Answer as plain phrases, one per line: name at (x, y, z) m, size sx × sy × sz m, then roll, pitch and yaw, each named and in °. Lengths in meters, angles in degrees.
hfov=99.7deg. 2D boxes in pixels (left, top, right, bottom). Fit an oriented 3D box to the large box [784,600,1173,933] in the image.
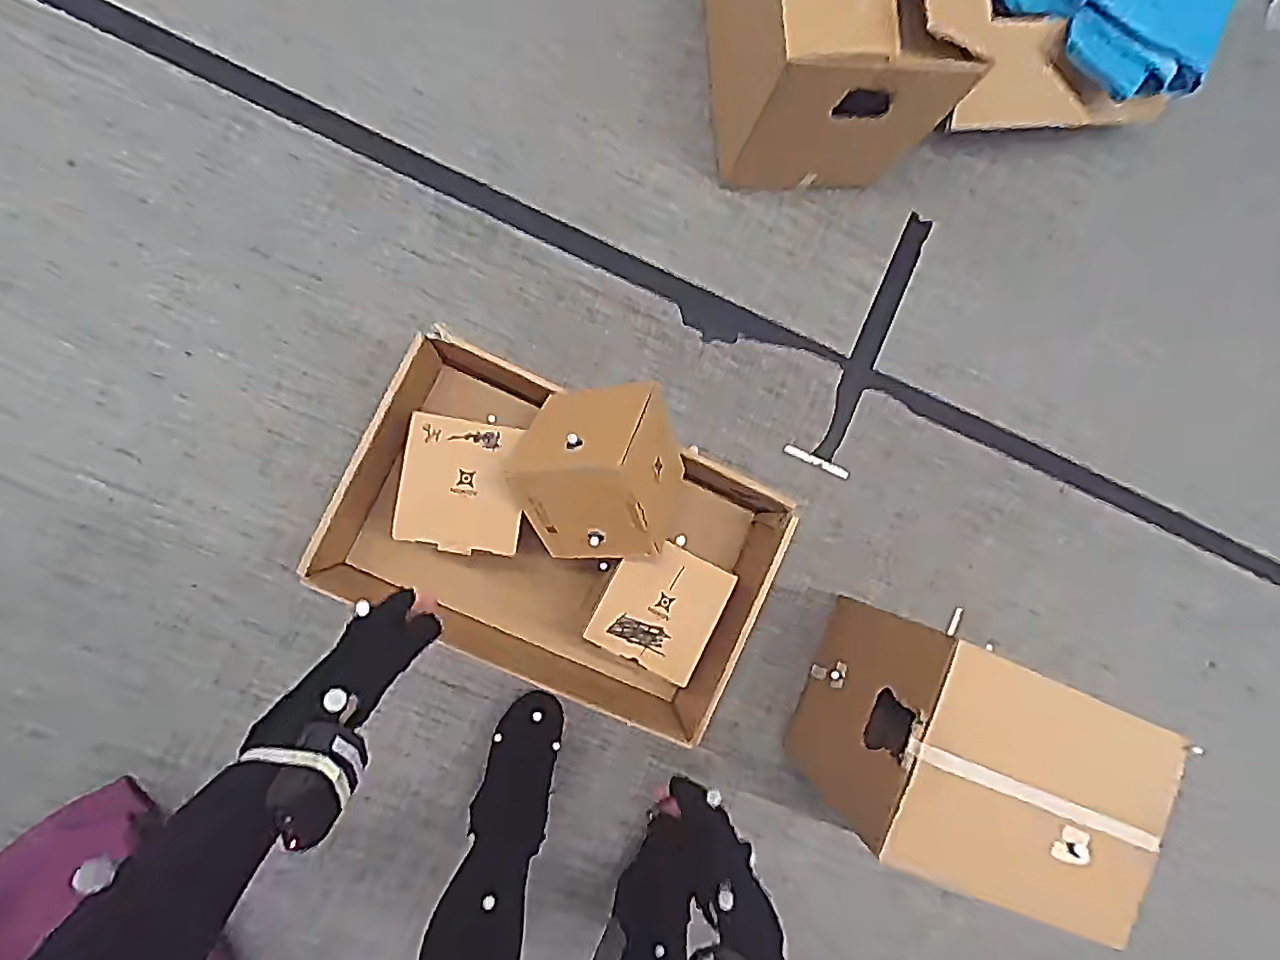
large box at (0.518, 0.430, 0.894) m, size 0.408 × 0.320 × 0.320 m, roll 23°, pitch 86°, yaw -8°
